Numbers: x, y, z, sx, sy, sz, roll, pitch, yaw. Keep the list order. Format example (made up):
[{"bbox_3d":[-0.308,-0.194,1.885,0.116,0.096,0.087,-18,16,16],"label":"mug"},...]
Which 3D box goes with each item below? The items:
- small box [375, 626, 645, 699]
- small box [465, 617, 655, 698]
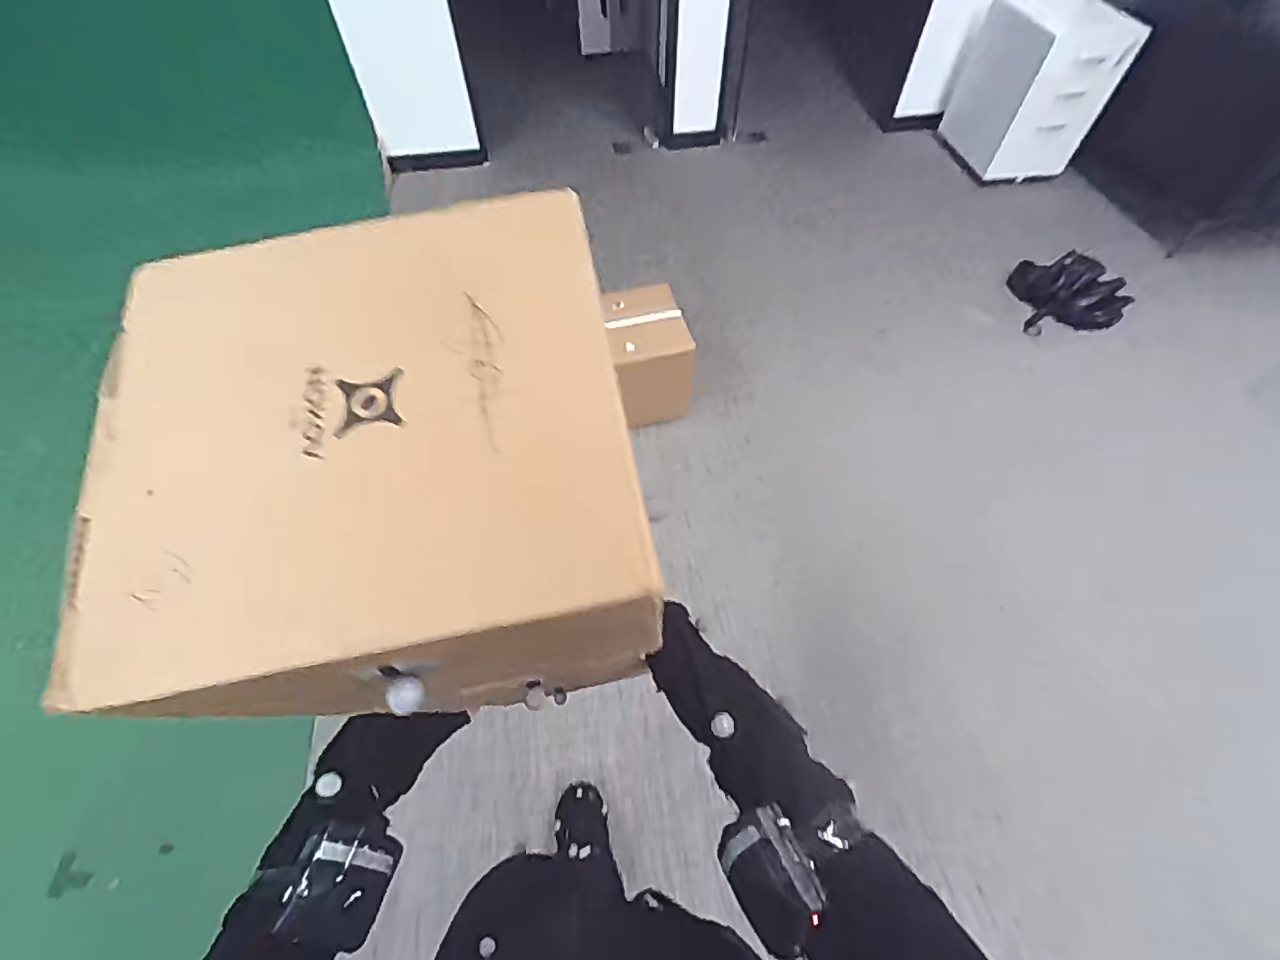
[{"bbox_3d":[-0.093,0.064,0.427,0.168,0.176,0.179,-12,67,-4],"label":"small box"},{"bbox_3d":[-0.084,0.129,0.576,0.179,0.176,0.168,-11,66,-2],"label":"small box"}]
